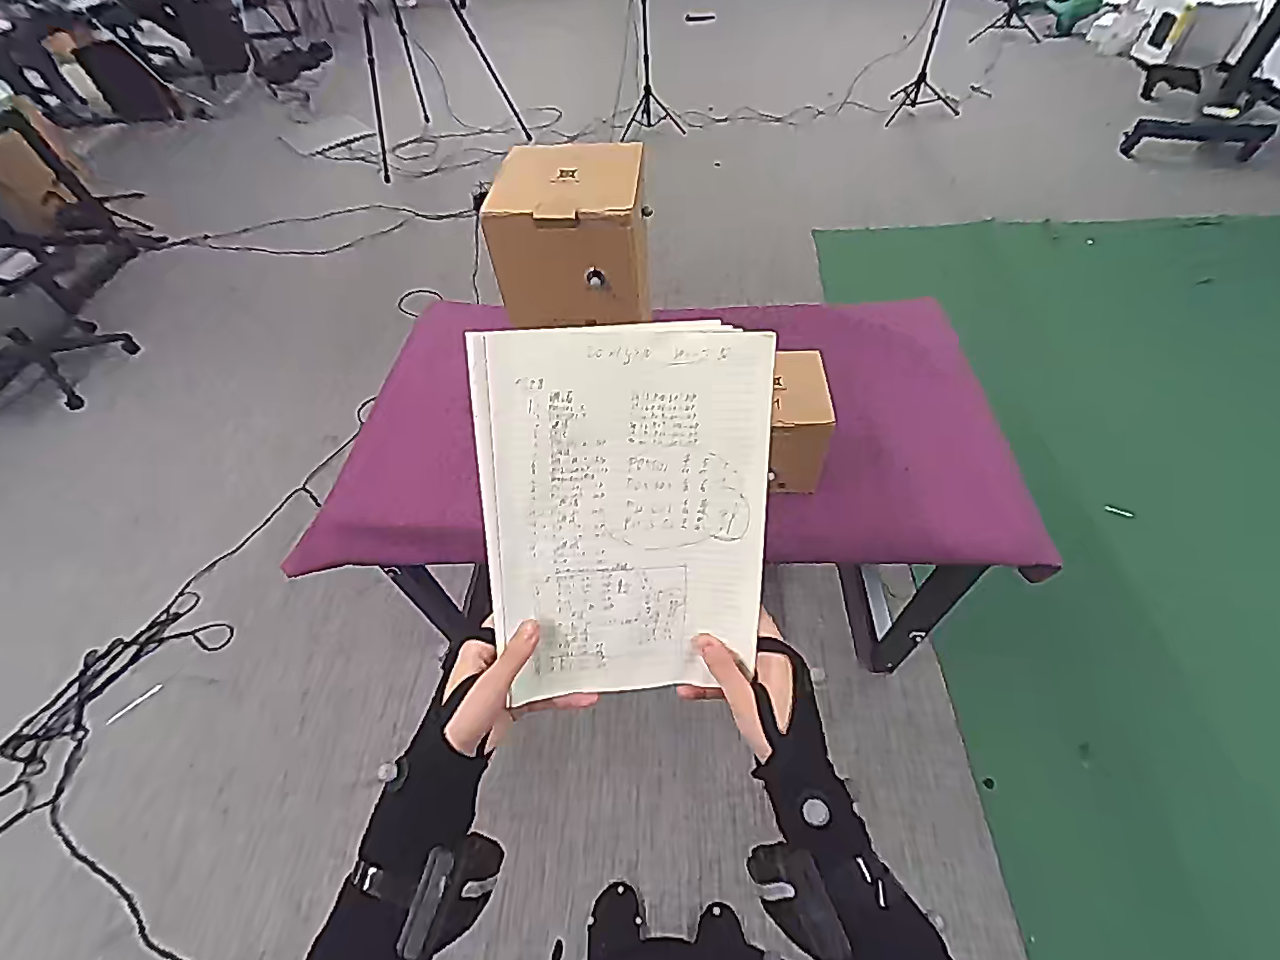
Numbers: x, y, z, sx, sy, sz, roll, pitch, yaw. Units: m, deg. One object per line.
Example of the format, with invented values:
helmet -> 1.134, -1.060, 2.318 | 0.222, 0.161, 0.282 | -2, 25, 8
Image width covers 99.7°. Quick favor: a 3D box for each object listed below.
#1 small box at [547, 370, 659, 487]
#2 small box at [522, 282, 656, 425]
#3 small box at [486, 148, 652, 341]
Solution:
small box -> -0.054, -0.101, 0.951 | 0.168, 0.176, 0.179 | 1, 53, 5
small box -> -0.065, -0.197, 0.817 | 0.168, 0.176, 0.179 | 1, 51, 5
small box -> -0.074, -0.293, 0.686 | 0.168, 0.176, 0.179 | 2, 52, 5
